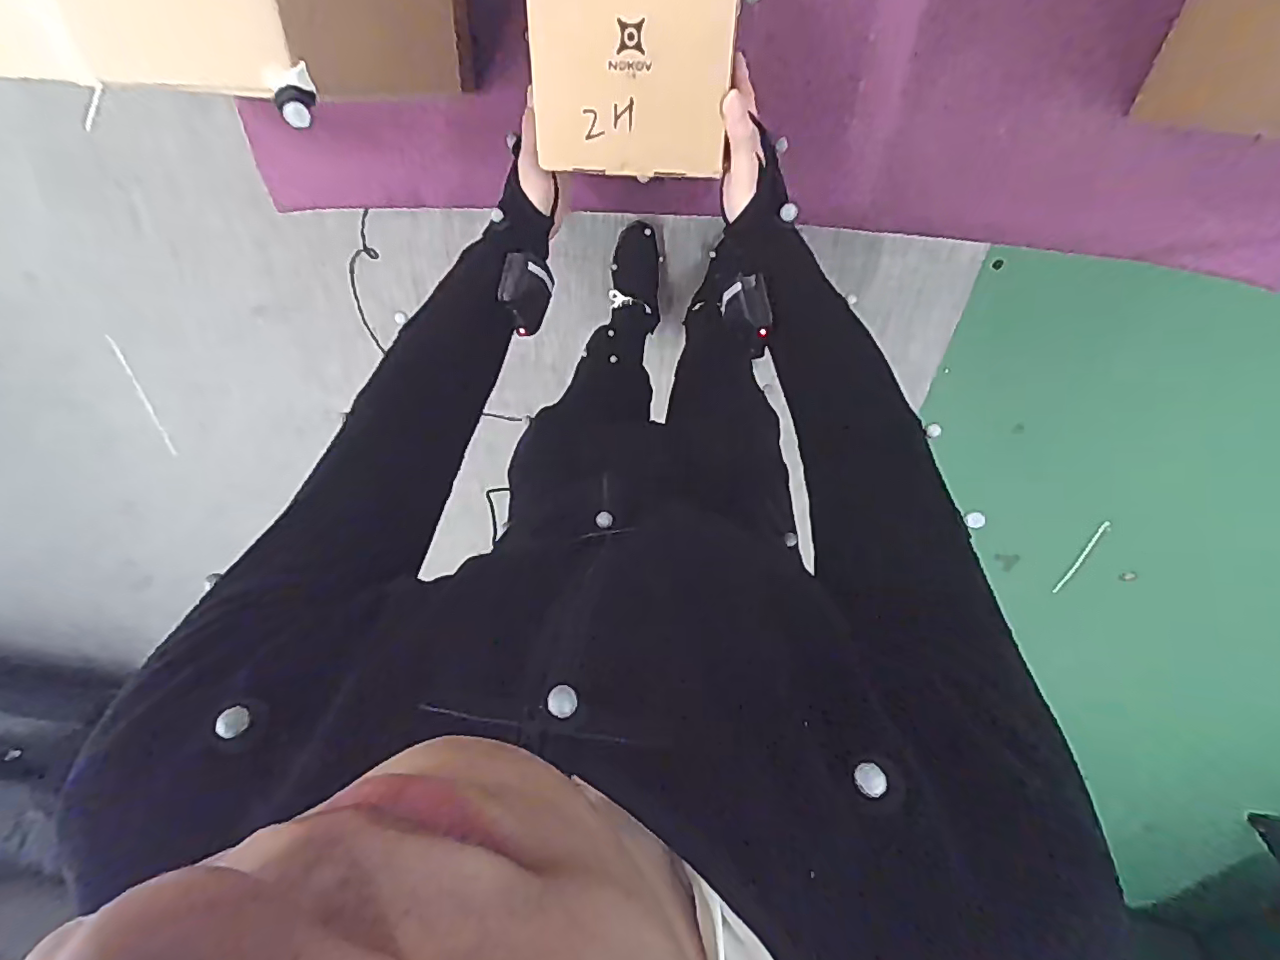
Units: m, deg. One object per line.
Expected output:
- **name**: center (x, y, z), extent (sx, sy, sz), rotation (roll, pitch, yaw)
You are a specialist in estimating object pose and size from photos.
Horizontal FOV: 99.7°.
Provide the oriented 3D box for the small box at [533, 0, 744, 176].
- **small box**: center (0.006, -0.388, 0.494), extent (0.168, 0.176, 0.179), rotation (5, 125, 6)
